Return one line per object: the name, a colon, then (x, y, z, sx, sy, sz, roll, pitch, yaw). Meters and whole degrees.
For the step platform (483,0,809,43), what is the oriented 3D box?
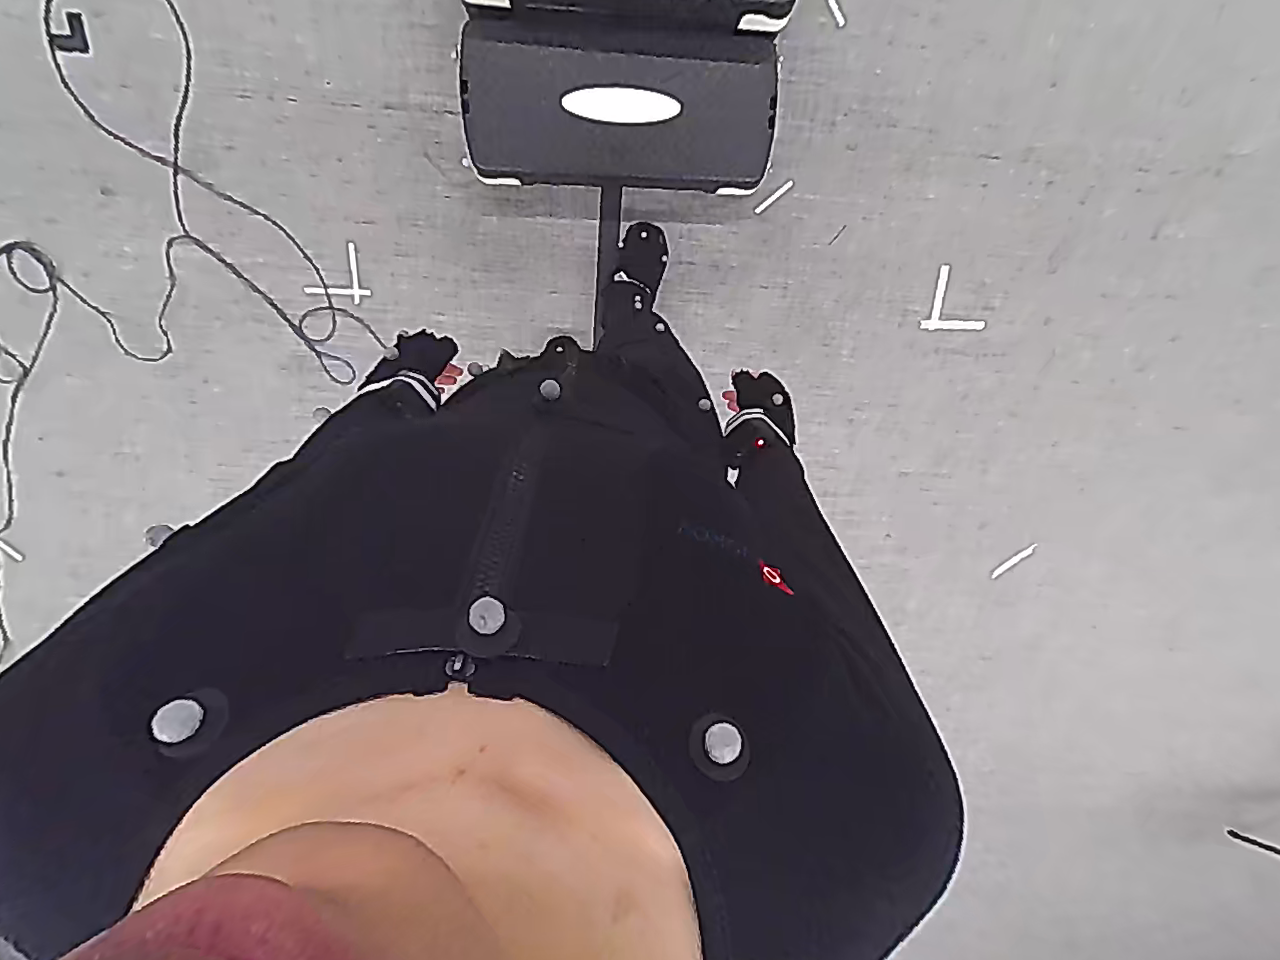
step platform: (0.011, -1.064, 1.032, 0.684, 0.204, 0.286, 0, 110, -5)
